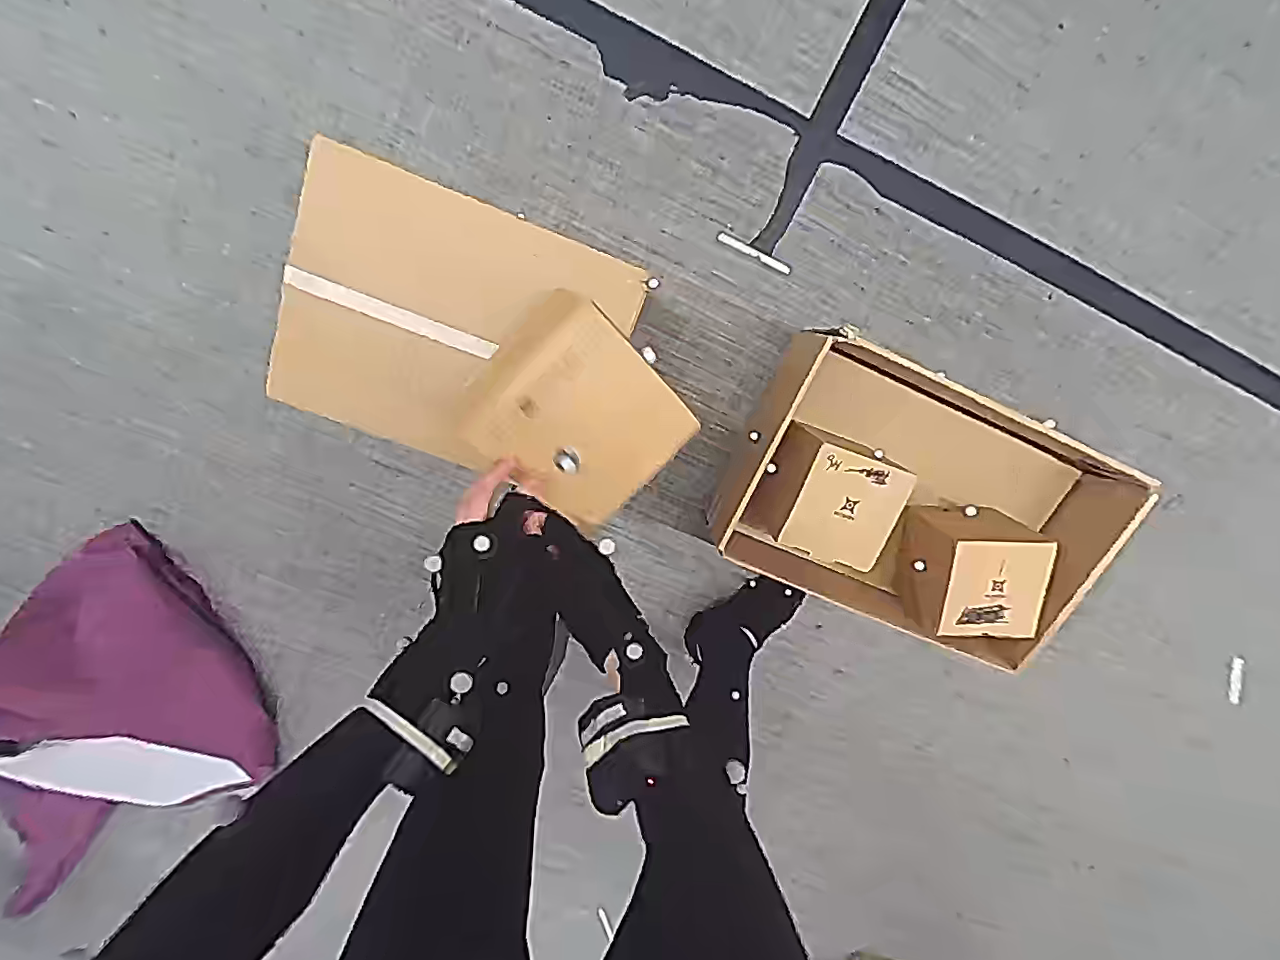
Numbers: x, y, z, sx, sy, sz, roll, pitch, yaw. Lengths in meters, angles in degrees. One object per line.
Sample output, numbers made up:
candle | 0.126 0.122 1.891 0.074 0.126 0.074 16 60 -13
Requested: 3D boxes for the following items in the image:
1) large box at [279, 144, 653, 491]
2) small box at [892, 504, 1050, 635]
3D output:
large box | -0.227 -0.223 0.811 0.408 0.320 0.320 19 106 -8
small box | 0.574 0.154 0.965 0.168 0.176 0.179 1 106 -1
